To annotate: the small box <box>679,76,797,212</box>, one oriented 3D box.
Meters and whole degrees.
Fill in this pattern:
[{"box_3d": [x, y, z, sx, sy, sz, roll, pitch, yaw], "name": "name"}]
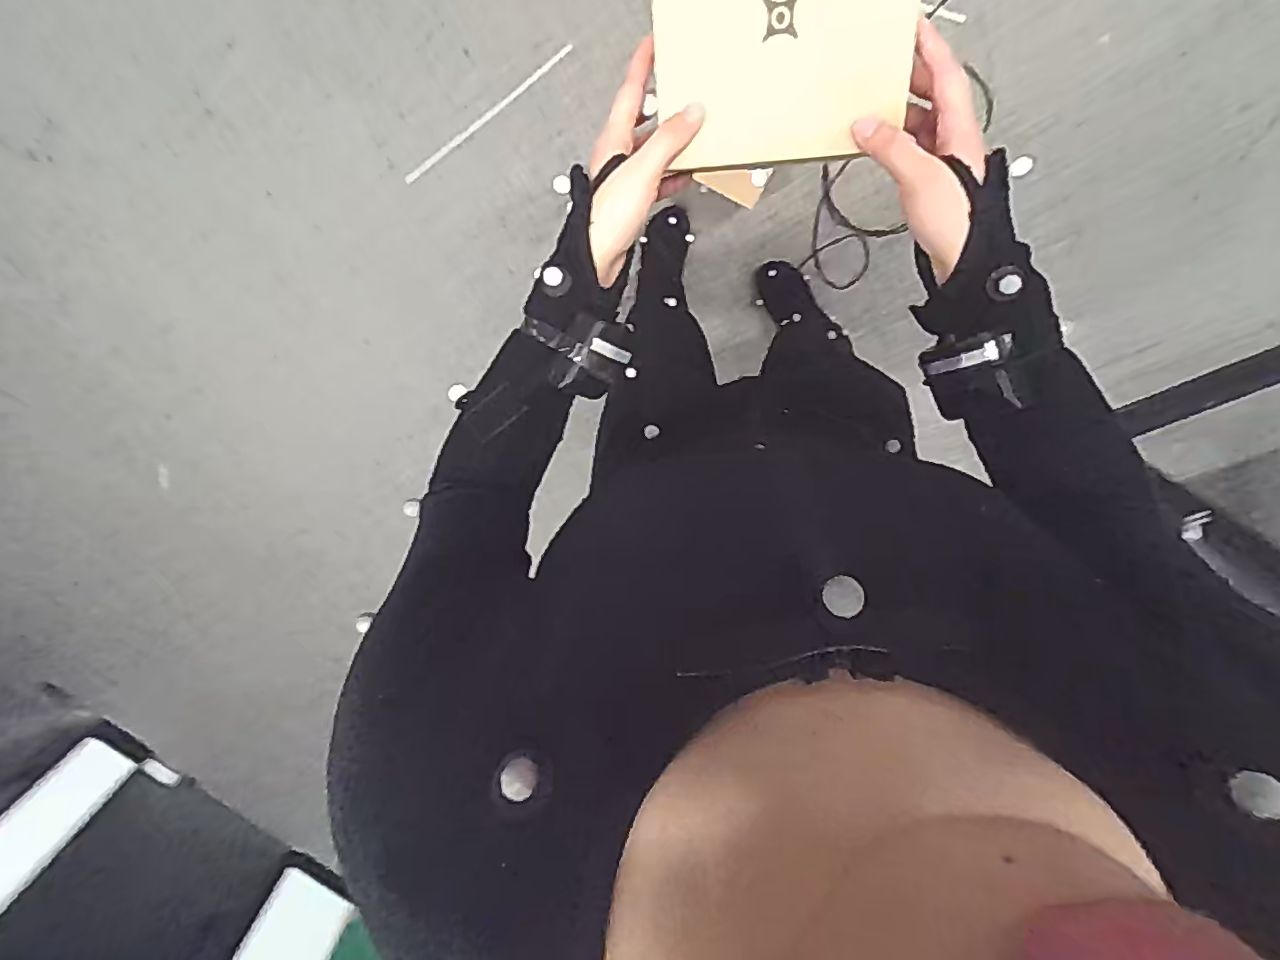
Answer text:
[{"box_3d": [0.195, -0.673, 1.101, 0.168, 0.176, 0.179, 24, 119, -7], "name": "small box"}]
